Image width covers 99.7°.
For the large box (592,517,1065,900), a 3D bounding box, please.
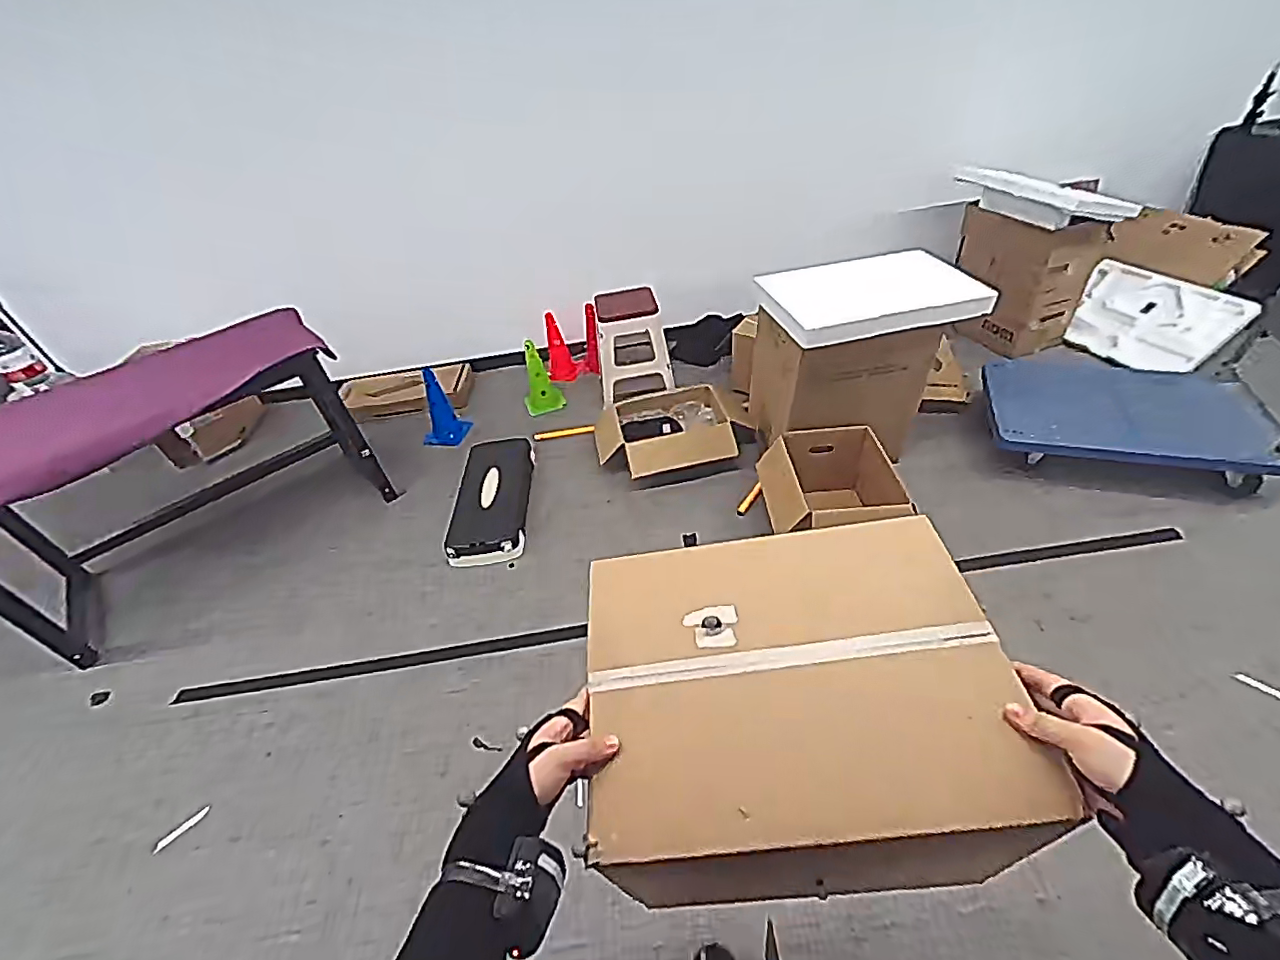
[{"bbox_3d":[0.174,0.287,0.662,0.408,0.320,0.320,-10,44,6],"label":"large box"}]
